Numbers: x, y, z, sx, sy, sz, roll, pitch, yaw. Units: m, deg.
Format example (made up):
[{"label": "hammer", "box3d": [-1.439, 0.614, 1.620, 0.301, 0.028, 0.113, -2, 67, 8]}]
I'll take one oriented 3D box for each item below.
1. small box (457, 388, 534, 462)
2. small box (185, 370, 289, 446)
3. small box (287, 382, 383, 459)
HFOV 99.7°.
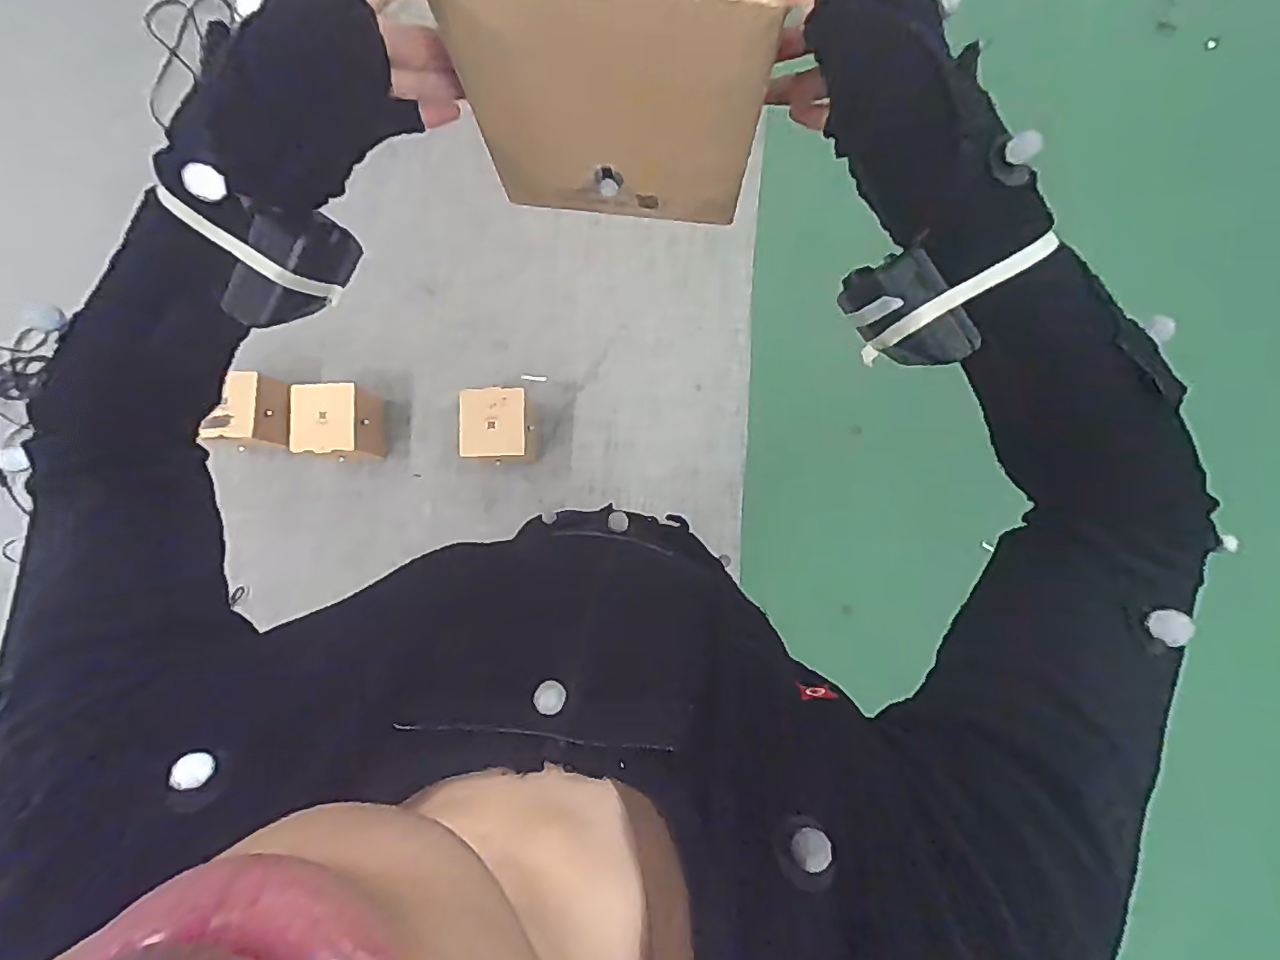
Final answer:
[{"label": "small box", "box3d": [-0.375, -0.139, 1.432, 0.168, 0.176, 0.179, -1, 86, -1]}, {"label": "small box", "box3d": [-1.055, -0.185, 1.437, 0.168, 0.176, 0.179, 1, 85, 0]}, {"label": "small box", "box3d": [-0.802, -0.153, 1.435, 0.168, 0.176, 0.179, -2, 86, 1]}]
